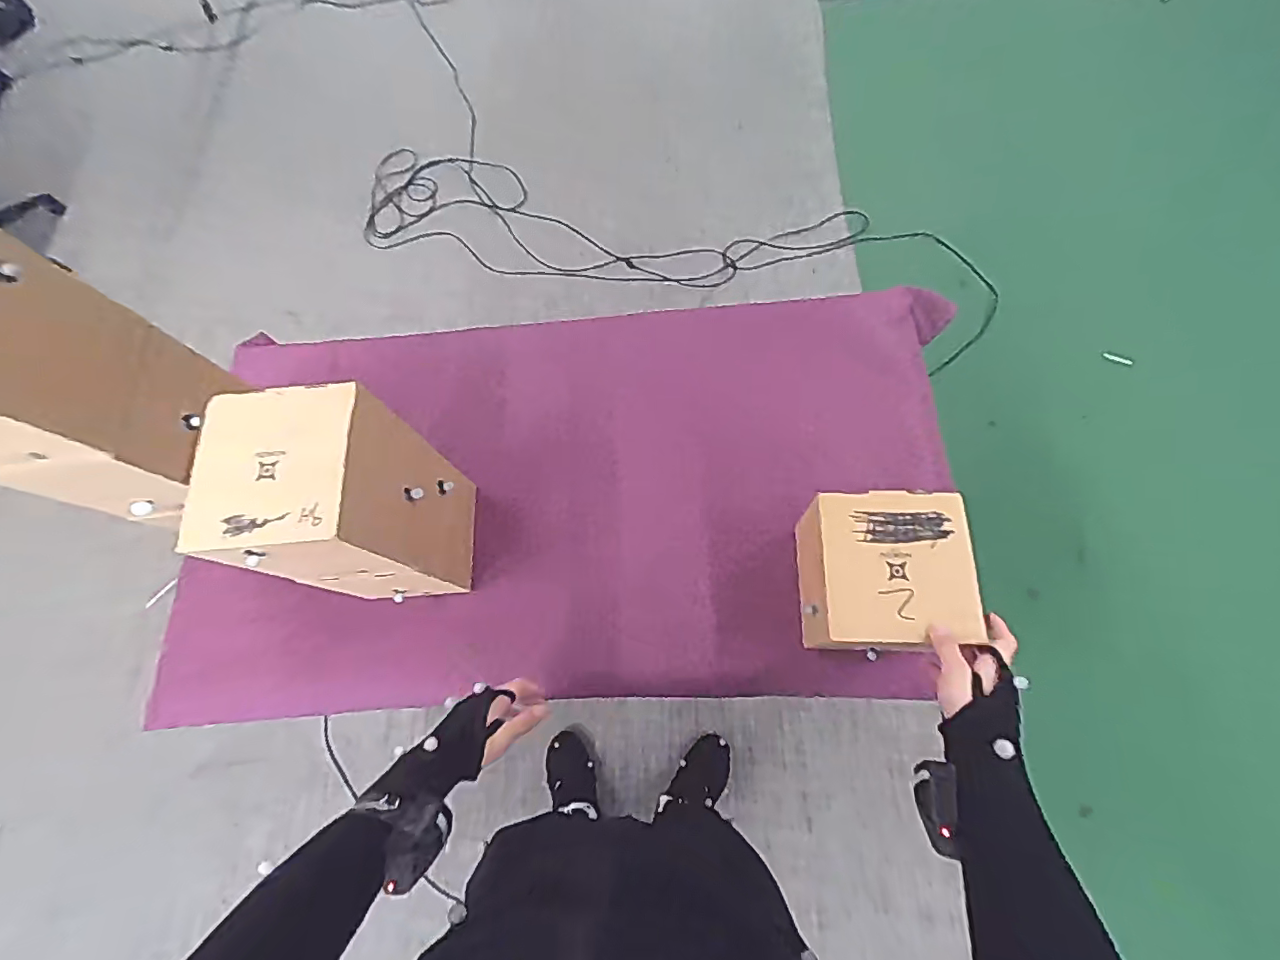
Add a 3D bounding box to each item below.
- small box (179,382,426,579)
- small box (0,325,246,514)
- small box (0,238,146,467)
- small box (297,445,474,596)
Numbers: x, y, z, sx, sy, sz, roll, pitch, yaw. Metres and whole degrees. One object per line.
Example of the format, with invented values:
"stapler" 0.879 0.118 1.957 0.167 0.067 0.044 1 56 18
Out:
"small box" -0.367 0.009 0.628 0.168 0.176 0.179 -5 69 5
"small box" -0.630 -0.067 0.683 0.168 0.176 0.179 -6 71 5
"small box" -0.647 -0.120 0.530 0.168 0.176 0.179 -7 70 5
"small box" -0.351 0.066 0.781 0.168 0.176 0.179 -5 71 5
